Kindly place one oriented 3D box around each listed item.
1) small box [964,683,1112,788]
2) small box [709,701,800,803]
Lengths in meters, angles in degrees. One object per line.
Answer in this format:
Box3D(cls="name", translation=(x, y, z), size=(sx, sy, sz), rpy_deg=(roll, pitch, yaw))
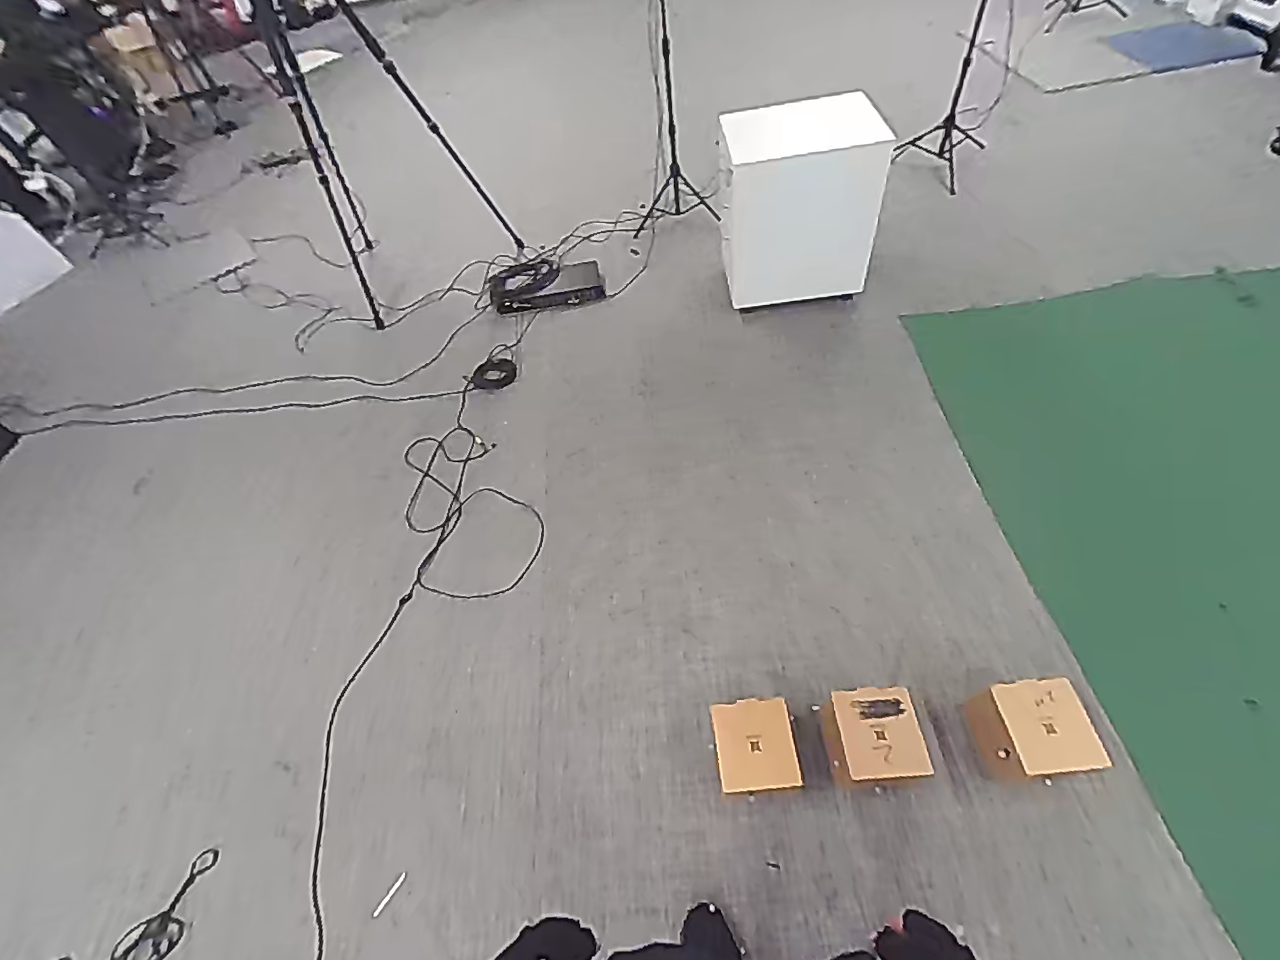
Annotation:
Box3D(cls="small box", translation=(0.836, 0.553, 1.159), size=(0.168, 0.176, 0.179), rpy_deg=(-7, 54, 3))
Box3D(cls="small box", translation=(0.251, 0.612, 1.207), size=(0.168, 0.176, 0.179), rpy_deg=(-8, 53, 4))
